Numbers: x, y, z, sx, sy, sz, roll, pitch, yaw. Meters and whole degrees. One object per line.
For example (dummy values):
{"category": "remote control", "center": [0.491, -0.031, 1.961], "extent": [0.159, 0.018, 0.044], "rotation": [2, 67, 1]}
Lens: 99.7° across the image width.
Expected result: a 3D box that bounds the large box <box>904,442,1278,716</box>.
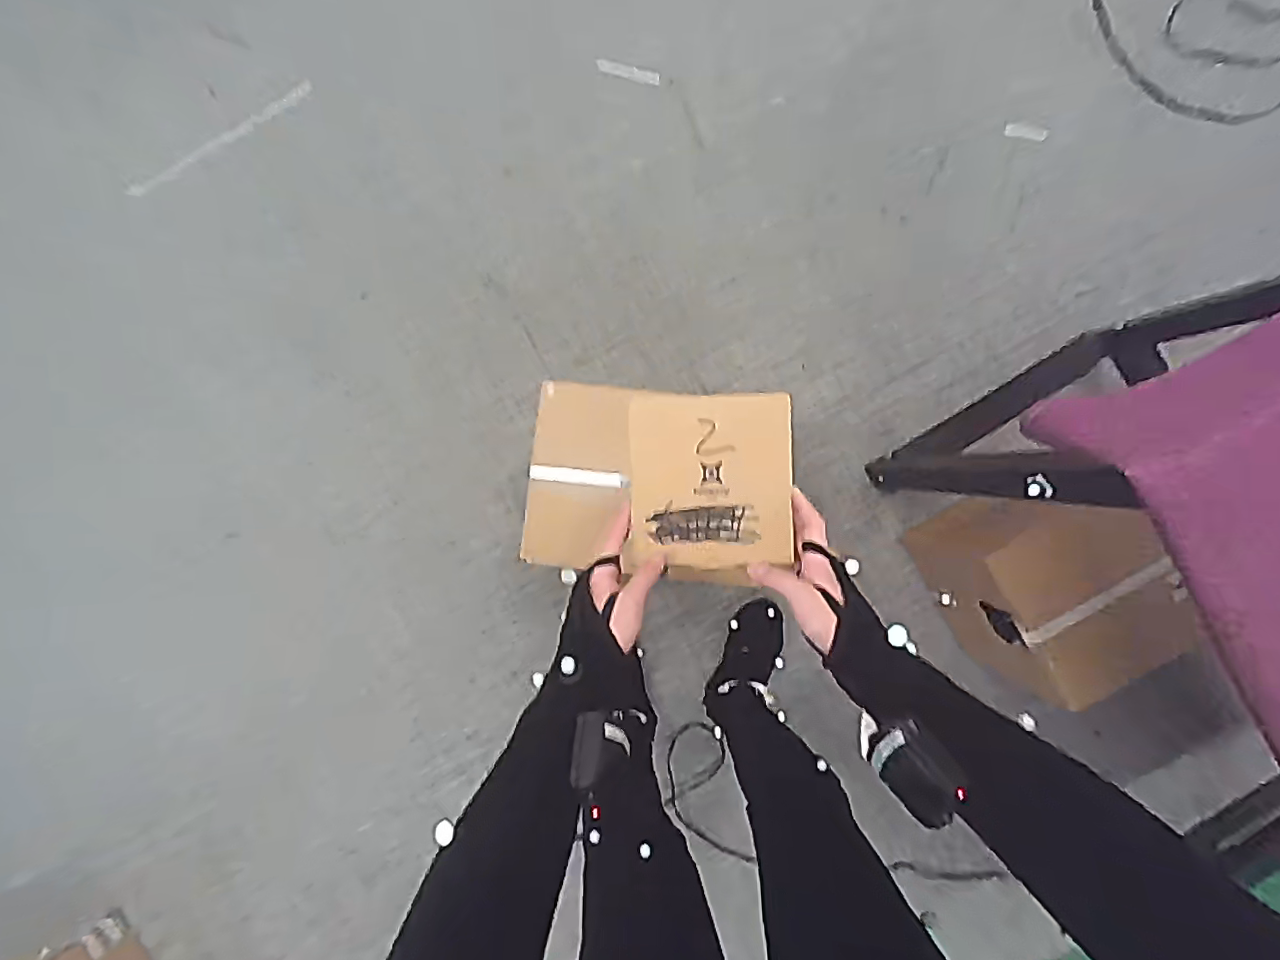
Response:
{"category": "large box", "center": [0.825, 0.168, 1.053], "extent": [0.408, 0.320, 0.320], "rotation": [-30, 91, 0]}
